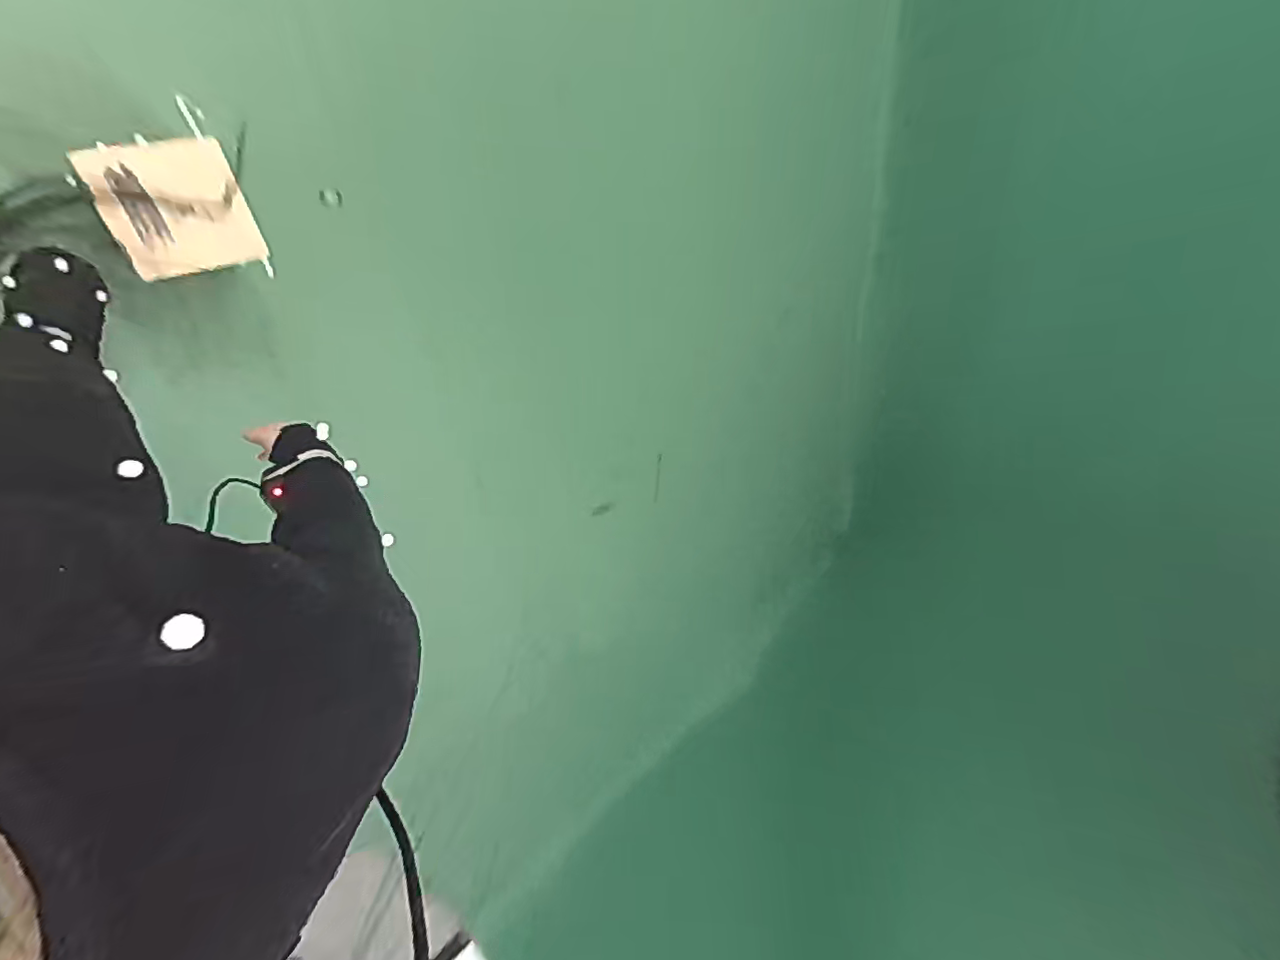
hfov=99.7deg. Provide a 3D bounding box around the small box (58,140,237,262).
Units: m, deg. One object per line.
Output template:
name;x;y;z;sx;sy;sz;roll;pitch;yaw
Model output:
small box;-0.856;-0.493;0.947;0.179;0.176;0.168;-30;130;-31
